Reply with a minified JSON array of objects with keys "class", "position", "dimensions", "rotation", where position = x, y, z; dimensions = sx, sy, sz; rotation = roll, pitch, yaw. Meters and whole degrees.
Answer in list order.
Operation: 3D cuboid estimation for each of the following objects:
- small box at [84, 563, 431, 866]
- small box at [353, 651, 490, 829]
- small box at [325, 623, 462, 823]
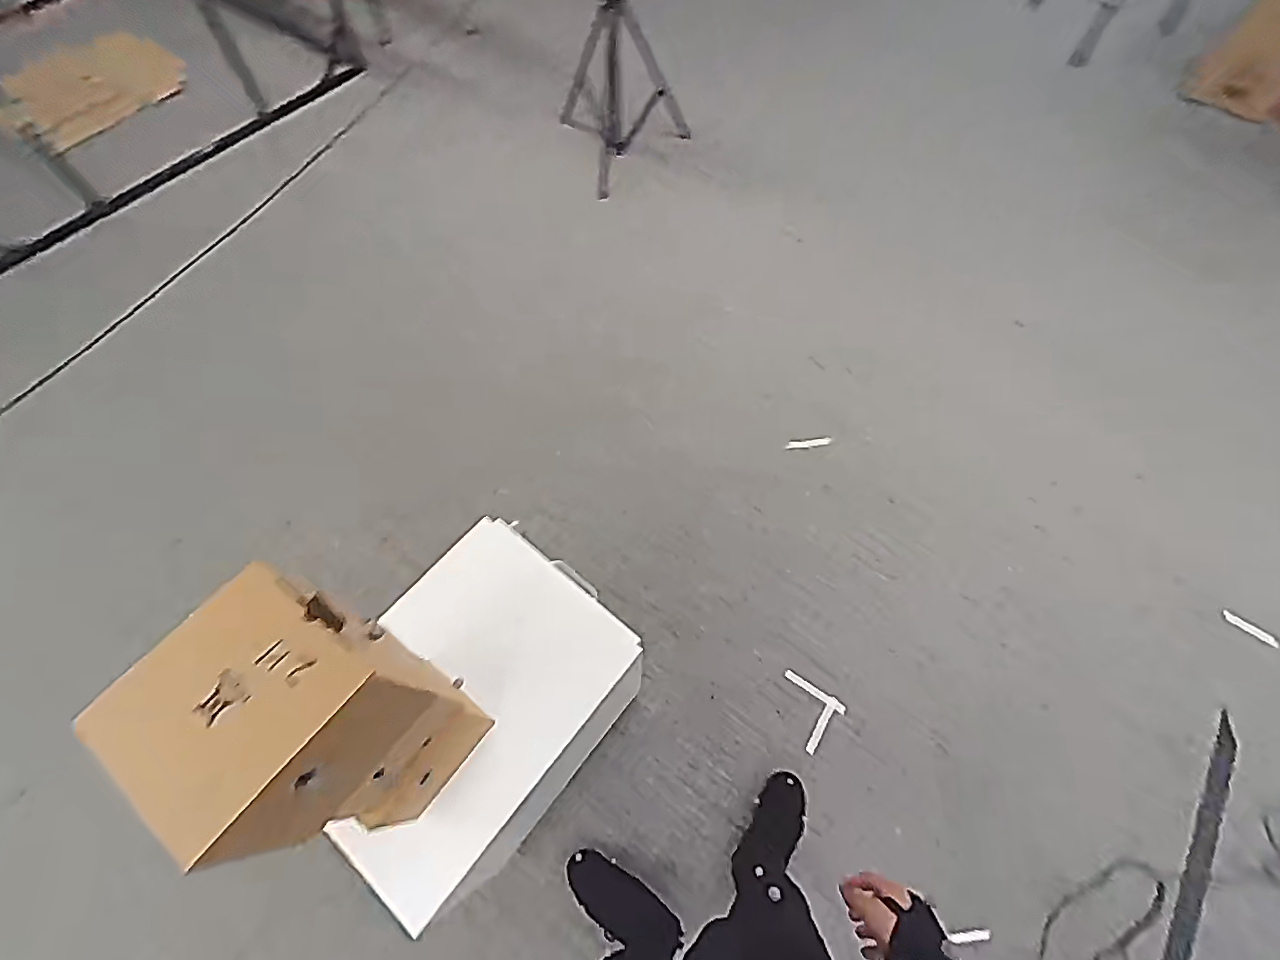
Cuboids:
[{"class":"small box","position":[-0.336,0.216,0.516],"dimensions":[0.168,0.176,0.179],"rotation":[34,67,16]},{"class":"small box","position":[-0.351,0.375,0.802],"dimensions":[0.168,0.176,0.179],"rotation":[34,66,16]},{"class":"small box","position":[-0.352,0.284,0.667],"dimensions":[0.179,0.176,0.168],"rotation":[34,67,17]}]
